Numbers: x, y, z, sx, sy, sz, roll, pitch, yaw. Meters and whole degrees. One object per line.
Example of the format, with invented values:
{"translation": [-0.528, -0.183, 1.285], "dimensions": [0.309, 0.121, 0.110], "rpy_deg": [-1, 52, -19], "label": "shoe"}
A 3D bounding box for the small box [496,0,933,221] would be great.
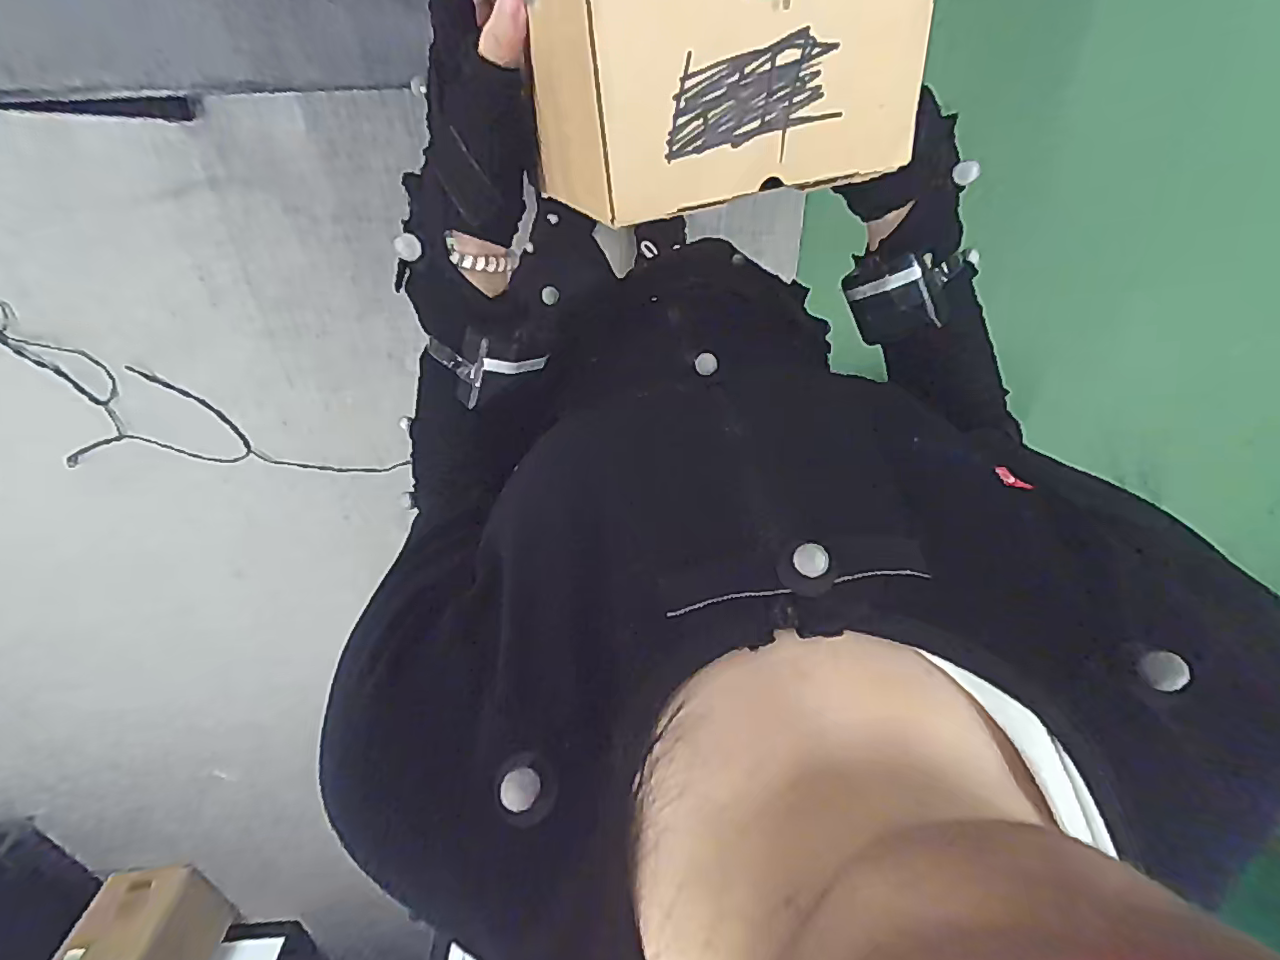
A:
{"translation": [0.024, -0.250, 0.272], "dimensions": [0.168, 0.176, 0.179], "rpy_deg": [-19, 128, -15], "label": "small box"}
